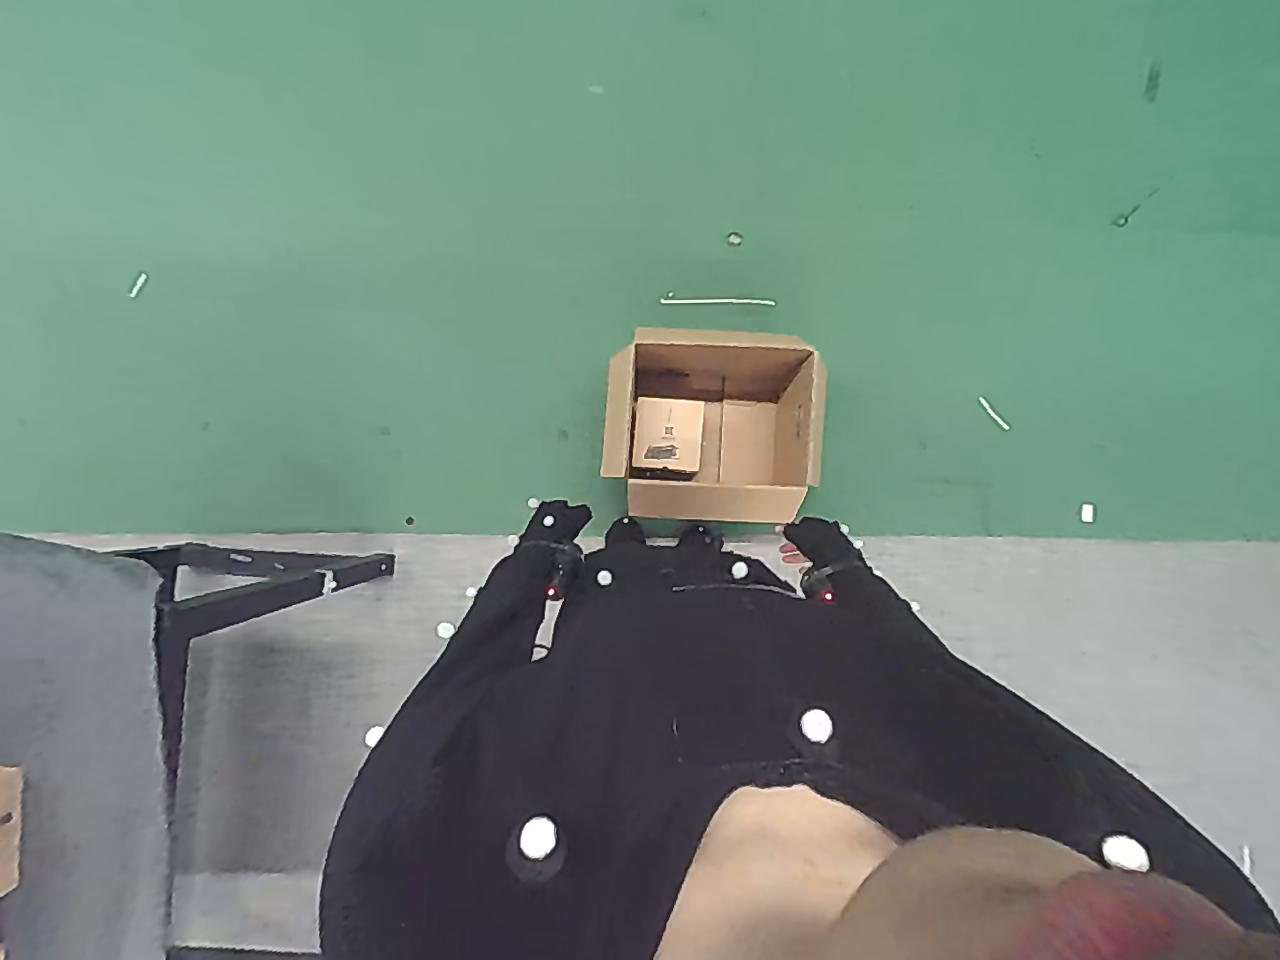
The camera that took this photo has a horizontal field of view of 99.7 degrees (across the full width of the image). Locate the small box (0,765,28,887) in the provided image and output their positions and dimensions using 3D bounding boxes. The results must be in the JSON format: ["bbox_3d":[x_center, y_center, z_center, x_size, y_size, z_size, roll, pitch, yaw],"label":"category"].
[{"bbox_3d":[-0.936,0.467,0.664,0.179,0.176,0.168,2,89,1],"label":"small box"}]
